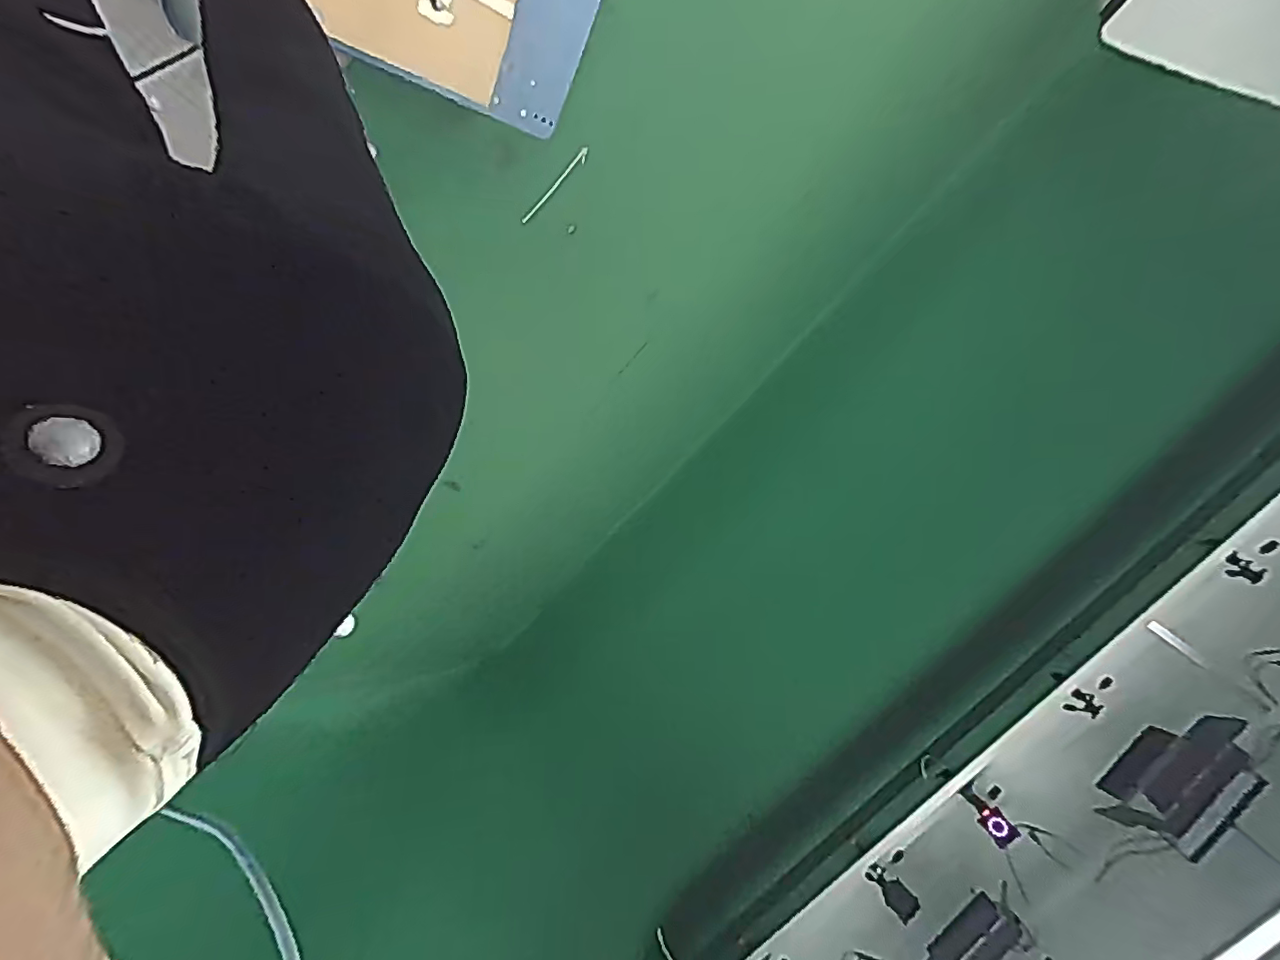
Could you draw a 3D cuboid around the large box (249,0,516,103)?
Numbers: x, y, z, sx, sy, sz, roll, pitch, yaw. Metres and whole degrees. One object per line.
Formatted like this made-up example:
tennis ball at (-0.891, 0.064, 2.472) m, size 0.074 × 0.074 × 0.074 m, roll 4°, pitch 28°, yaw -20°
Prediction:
large box at (-0.454, -0.912, 0.890) m, size 0.408 × 0.320 × 0.320 m, roll -10°, pitch 139°, yaw -48°
